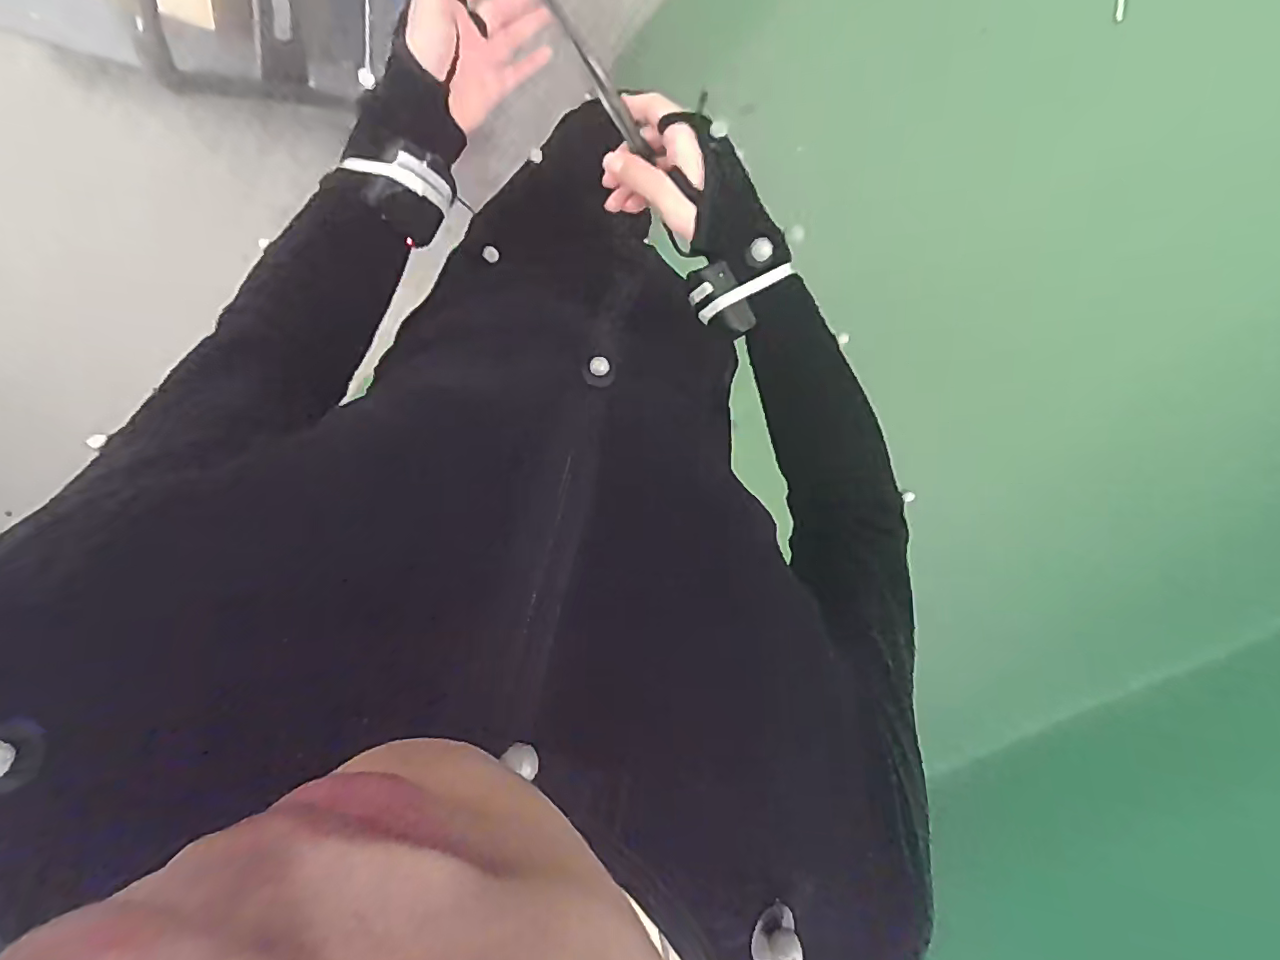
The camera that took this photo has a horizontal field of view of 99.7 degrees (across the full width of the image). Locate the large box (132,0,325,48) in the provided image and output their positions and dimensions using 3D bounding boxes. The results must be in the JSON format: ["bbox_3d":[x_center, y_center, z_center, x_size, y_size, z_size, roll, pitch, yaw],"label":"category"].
[{"bbox_3d":[-0.757,-0.916,0.813,0.408,0.320,0.320,15,121,-8],"label":"large box"}]
